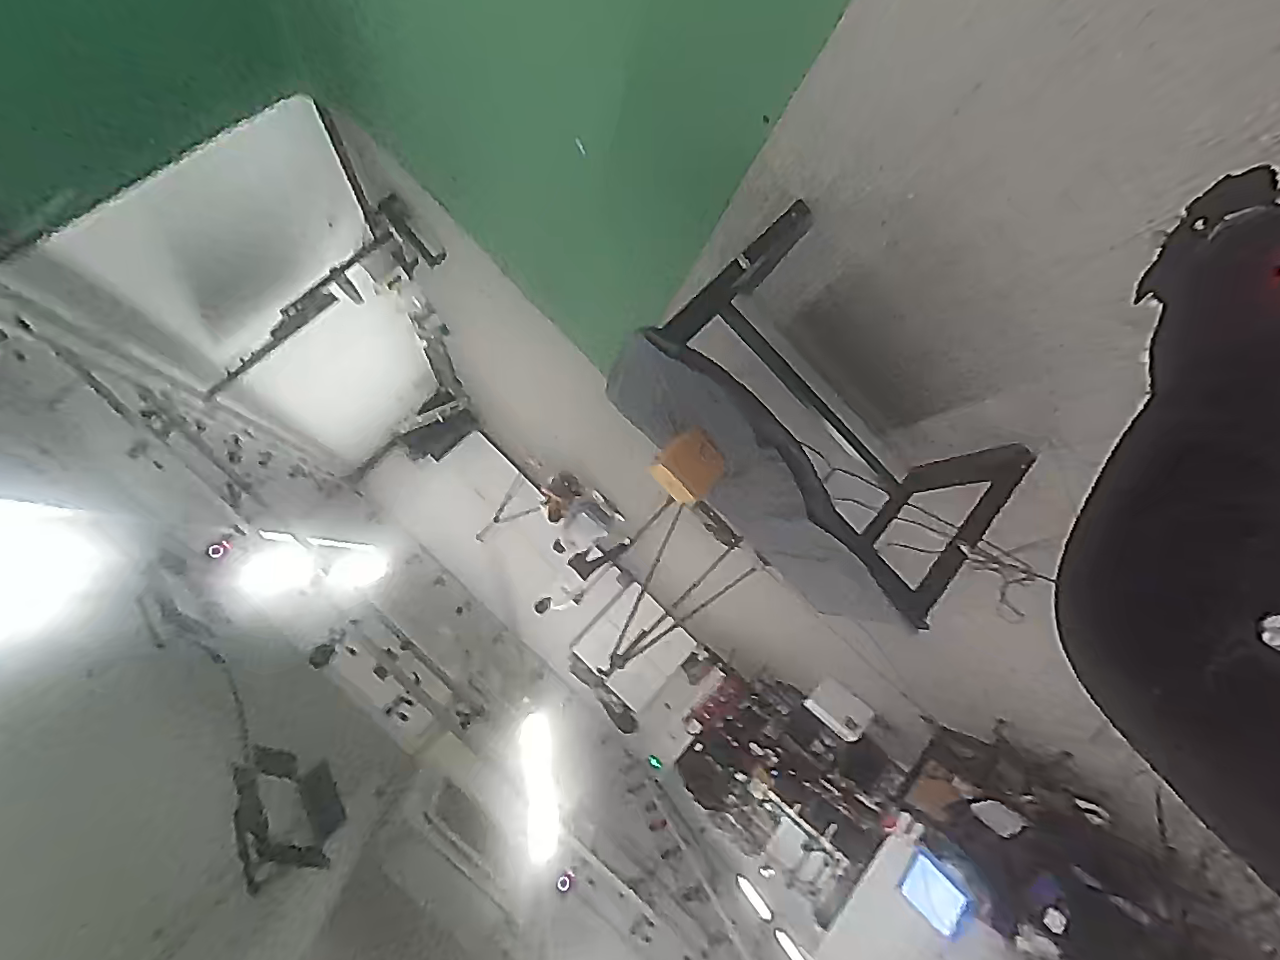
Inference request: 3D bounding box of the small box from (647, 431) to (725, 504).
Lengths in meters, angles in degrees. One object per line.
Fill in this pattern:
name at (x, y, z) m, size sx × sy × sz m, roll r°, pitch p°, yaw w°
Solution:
small box at (0.156, -0.040, 1.810) m, size 0.168 × 0.176 × 0.179 m, roll 46°, pitch 164°, yaw -7°
